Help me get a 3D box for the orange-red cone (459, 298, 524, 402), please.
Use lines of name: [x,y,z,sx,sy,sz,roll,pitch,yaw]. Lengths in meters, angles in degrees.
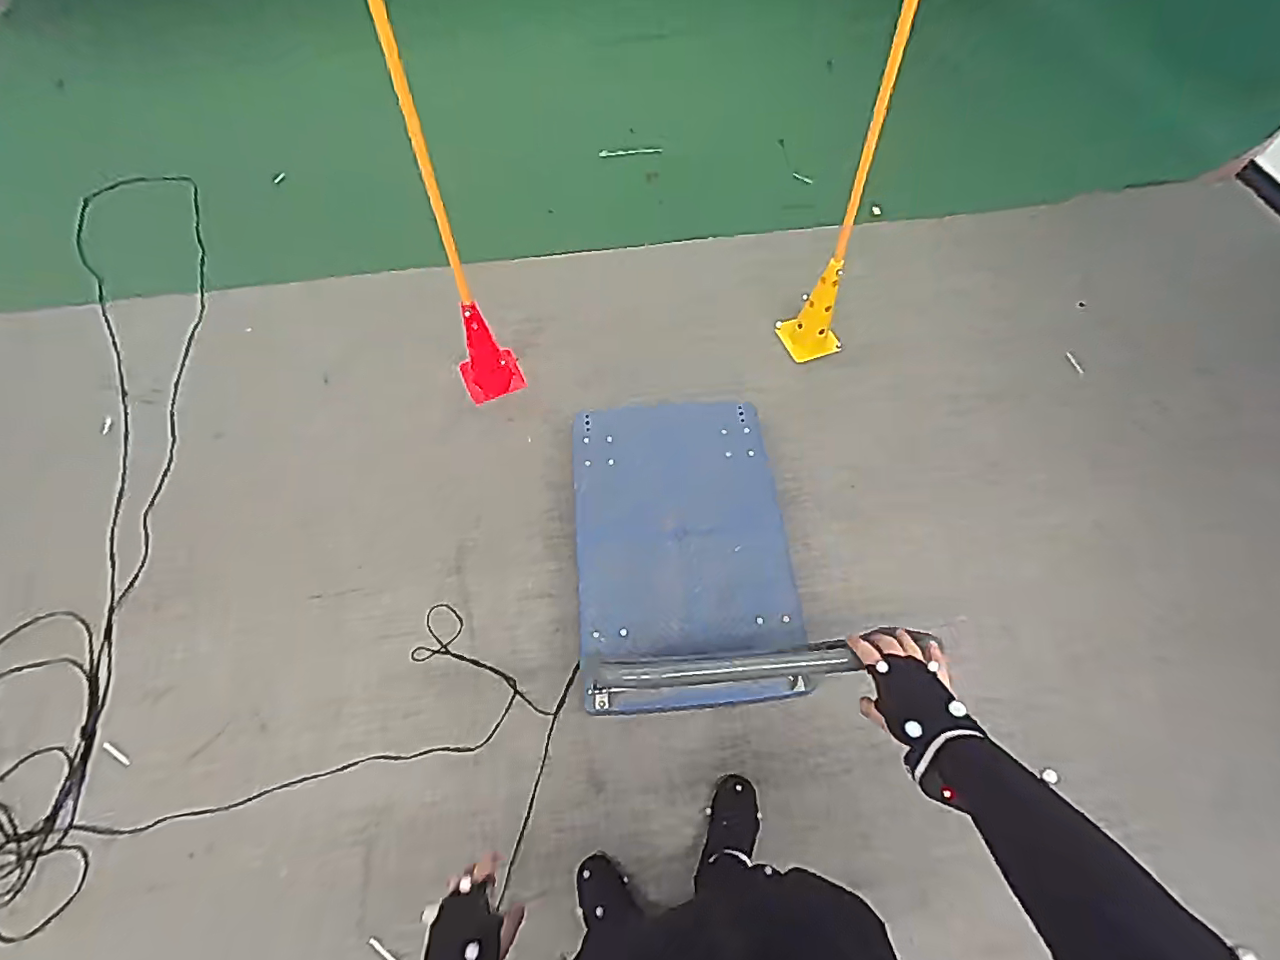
orange-red cone: [-0.532,-0.456,1.792,0.199,0.360,0.198,-22,64,-11]
